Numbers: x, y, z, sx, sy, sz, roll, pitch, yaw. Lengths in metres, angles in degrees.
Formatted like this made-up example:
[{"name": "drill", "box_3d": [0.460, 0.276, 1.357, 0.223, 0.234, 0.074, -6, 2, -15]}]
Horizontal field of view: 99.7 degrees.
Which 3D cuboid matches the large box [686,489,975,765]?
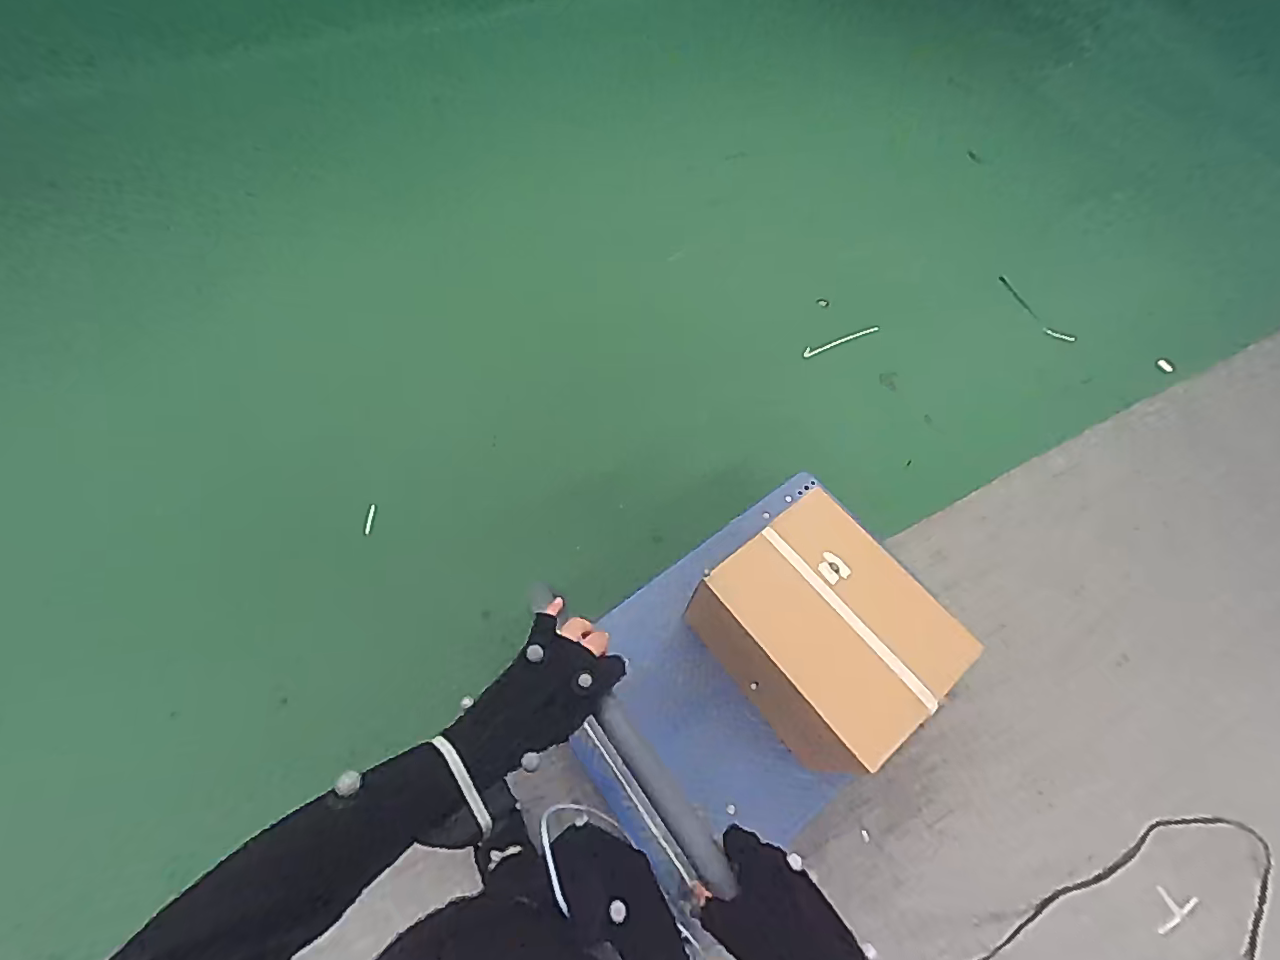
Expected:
[{"name": "large box", "box_3d": [0.350, 0.304, 1.104, 0.320, 0.320, 0.408, -35, 69, -19]}]
